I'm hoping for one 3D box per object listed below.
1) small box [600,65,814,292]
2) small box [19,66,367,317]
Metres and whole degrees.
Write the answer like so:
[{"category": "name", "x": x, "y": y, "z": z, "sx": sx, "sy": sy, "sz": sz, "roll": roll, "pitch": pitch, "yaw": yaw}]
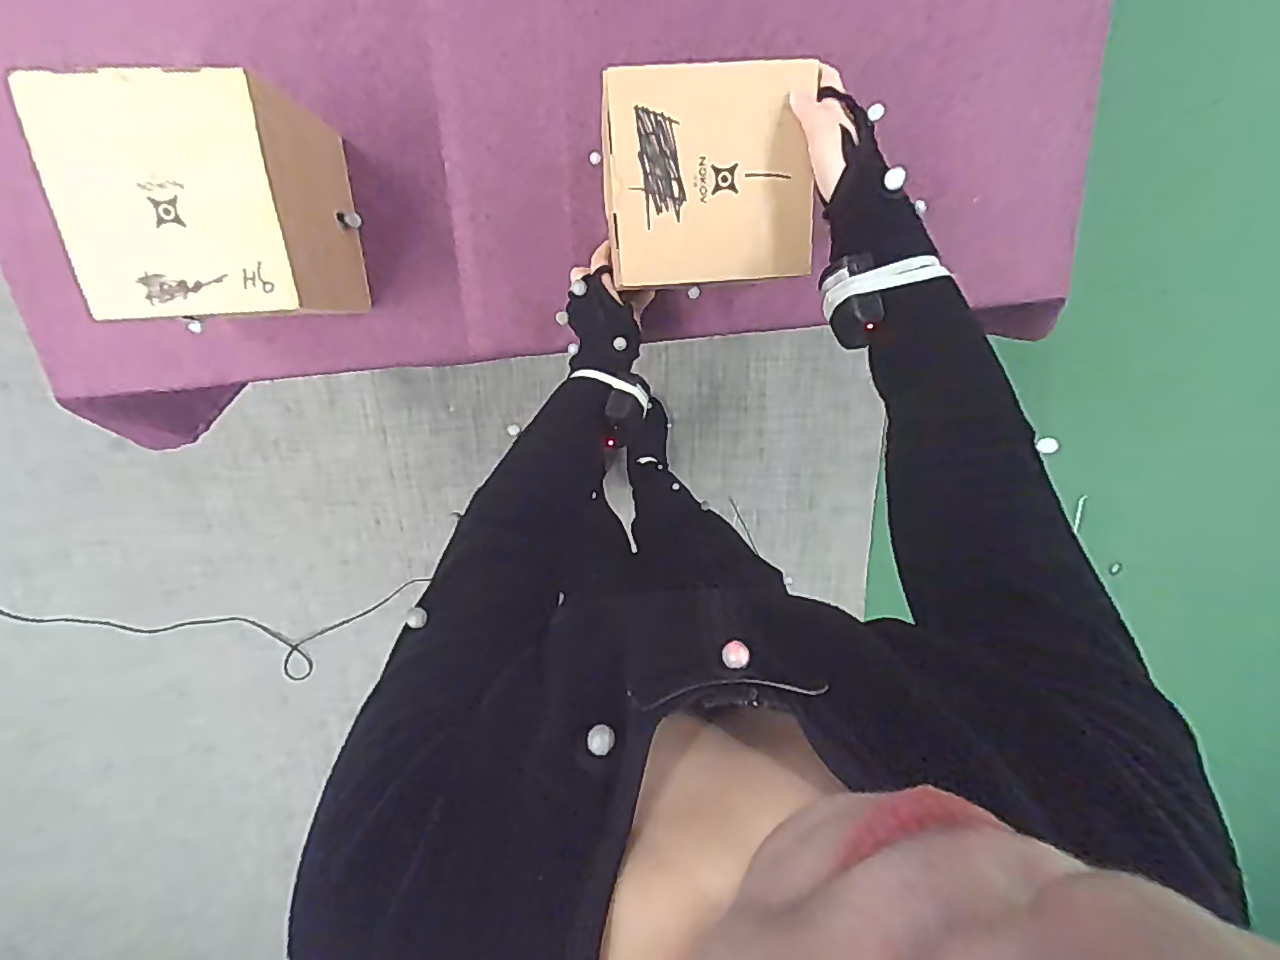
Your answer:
[{"category": "small box", "x": 0.053, "y": -0.278, "z": 0.534, "sx": 0.179, "sy": 0.176, "sz": 0.168, "roll": -4, "pitch": 108, "yaw": -4}, {"category": "small box", "x": -0.380, "y": -0.246, "z": 0.502, "sx": 0.168, "sy": 0.176, "sz": 0.179, "roll": -3, "pitch": 107, "yaw": -4}]
